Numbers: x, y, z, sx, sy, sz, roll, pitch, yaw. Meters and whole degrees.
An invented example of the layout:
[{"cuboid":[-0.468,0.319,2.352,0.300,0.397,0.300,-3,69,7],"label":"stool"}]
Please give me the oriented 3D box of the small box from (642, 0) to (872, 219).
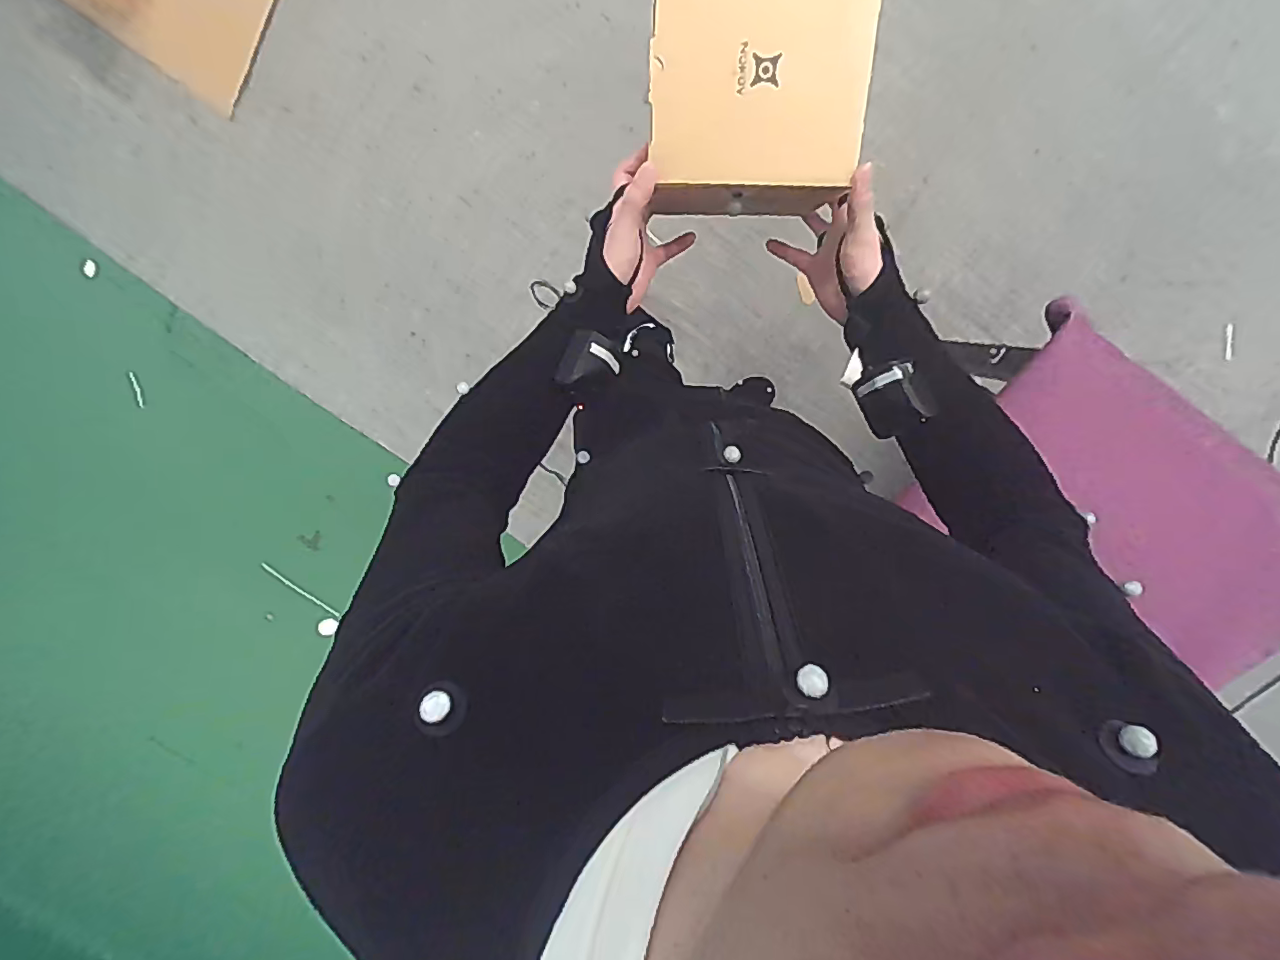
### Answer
[{"cuboid":[0.094,-0.347,0.507,0.179,0.176,0.168,2,108,4],"label":"small box"}]
